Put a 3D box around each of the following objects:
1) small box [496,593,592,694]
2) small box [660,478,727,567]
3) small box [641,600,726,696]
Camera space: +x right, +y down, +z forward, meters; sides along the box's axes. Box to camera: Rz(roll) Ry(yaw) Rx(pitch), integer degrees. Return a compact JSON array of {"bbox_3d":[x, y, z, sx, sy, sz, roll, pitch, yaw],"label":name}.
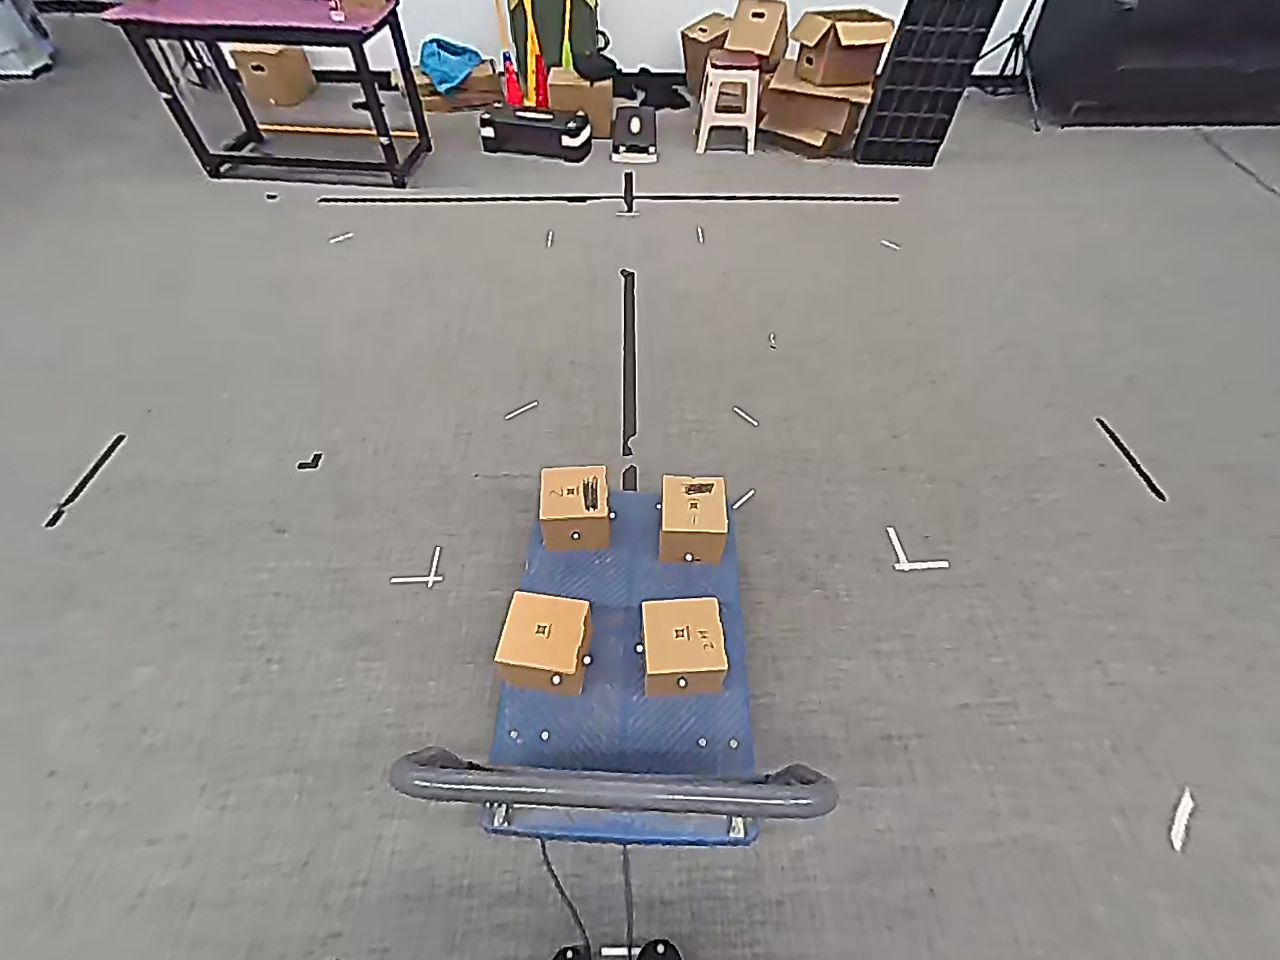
[{"bbox_3d":[-0.213,0.382,1.255,0.179,0.176,0.168,8,52,3],"label":"small box"},{"bbox_3d":[0.141,0.115,1.465,0.168,0.176,0.179,2,53,1],"label":"small box"},{"bbox_3d":[0.094,0.391,1.251,0.179,0.176,0.168,-2,53,-2],"label":"small box"}]
